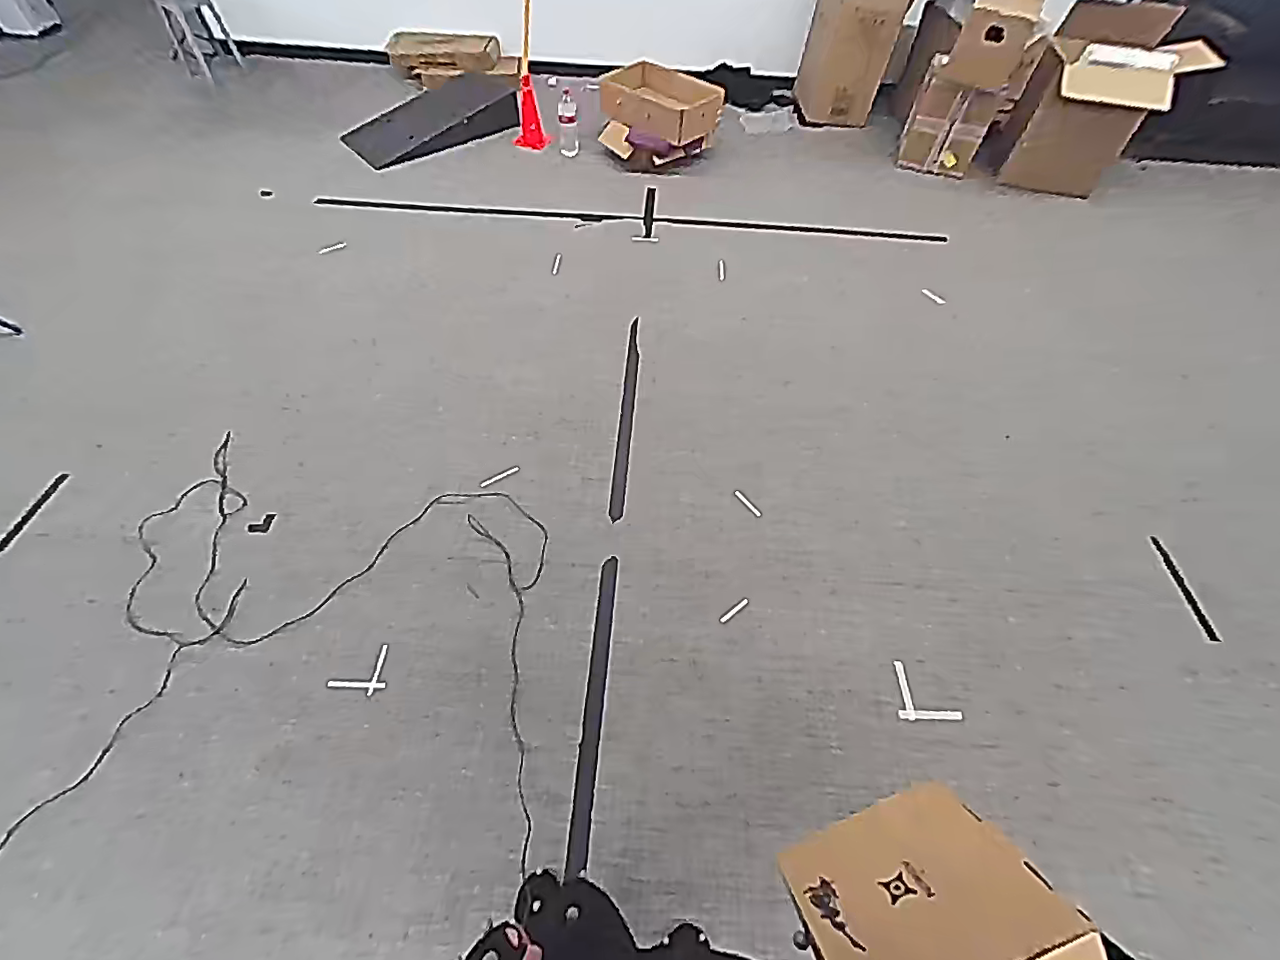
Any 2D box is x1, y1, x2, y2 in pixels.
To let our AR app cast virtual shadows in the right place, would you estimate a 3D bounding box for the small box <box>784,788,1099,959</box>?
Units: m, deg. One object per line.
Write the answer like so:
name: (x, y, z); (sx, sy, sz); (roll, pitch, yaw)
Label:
small box: (0.252, 0.413, 0.455); (0.179, 0.168, 0.176); (-21, 94, -4)
